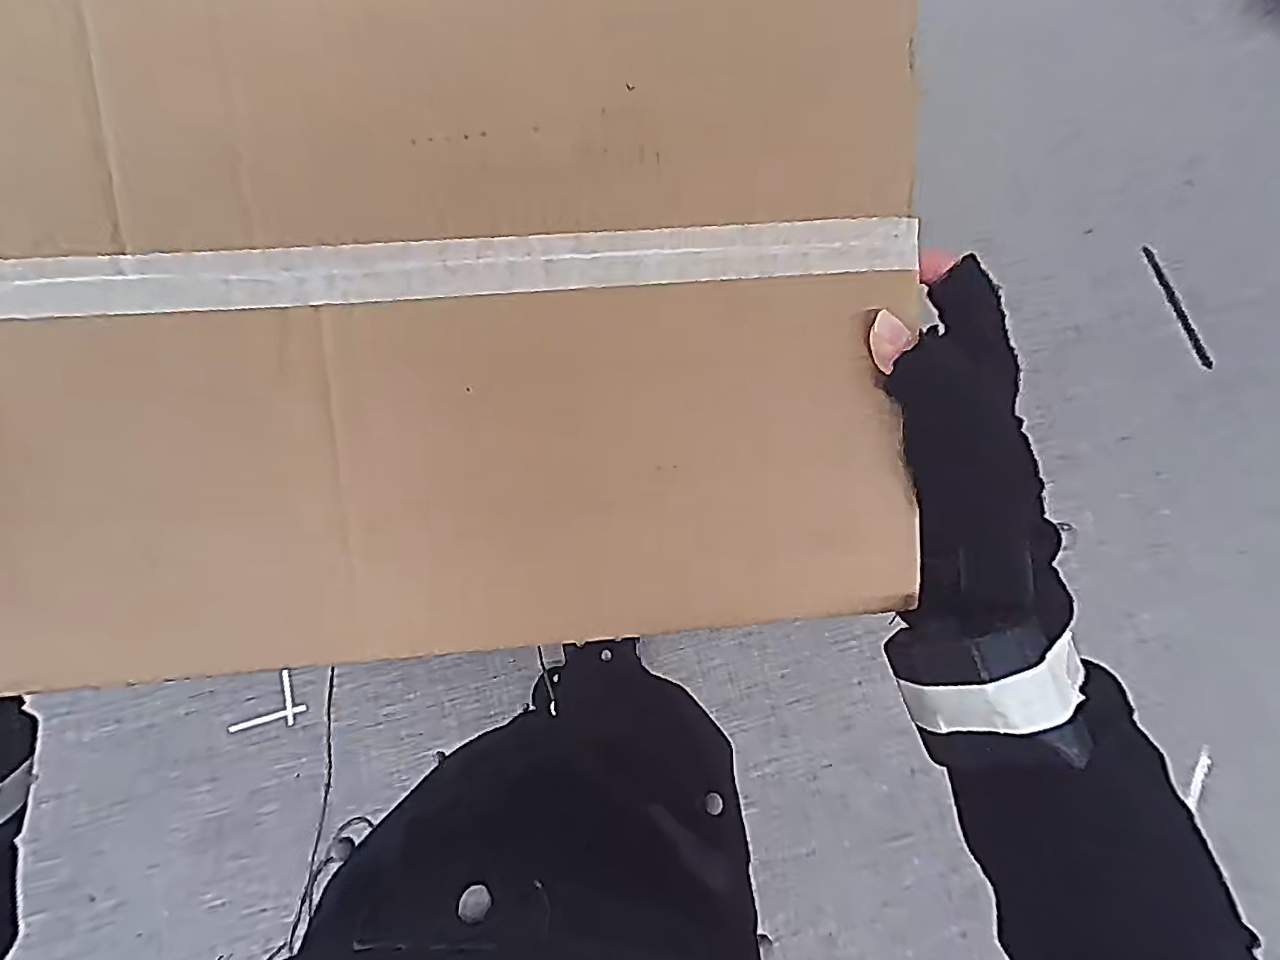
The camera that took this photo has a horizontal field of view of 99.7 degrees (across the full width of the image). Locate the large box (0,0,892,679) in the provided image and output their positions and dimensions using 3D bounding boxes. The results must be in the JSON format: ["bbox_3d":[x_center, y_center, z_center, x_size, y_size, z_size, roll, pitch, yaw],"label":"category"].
[{"bbox_3d":[-0.098,-0.101,0.370,0.408,0.320,0.320,-4,97,-4],"label":"large box"}]
